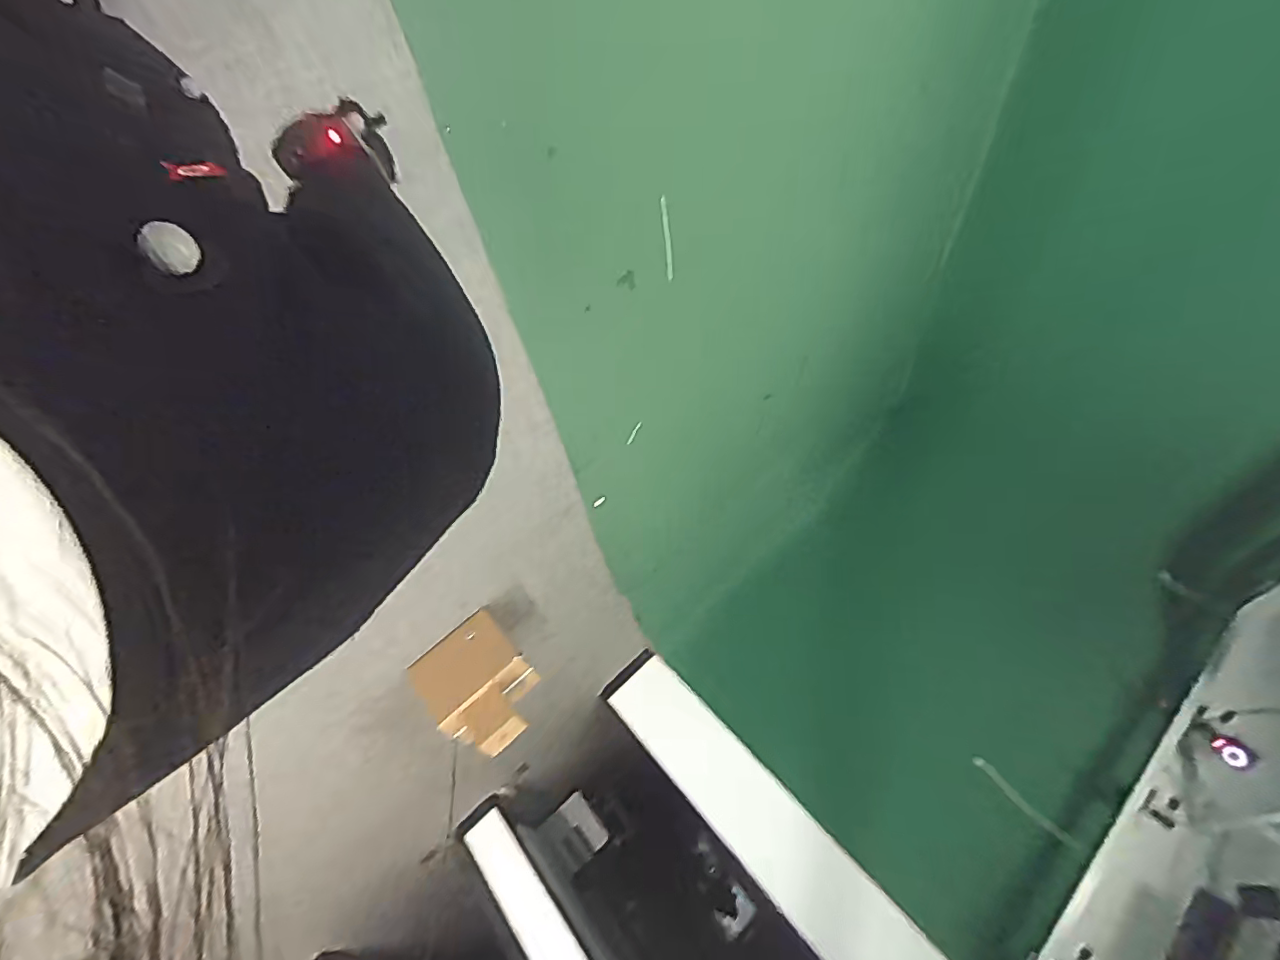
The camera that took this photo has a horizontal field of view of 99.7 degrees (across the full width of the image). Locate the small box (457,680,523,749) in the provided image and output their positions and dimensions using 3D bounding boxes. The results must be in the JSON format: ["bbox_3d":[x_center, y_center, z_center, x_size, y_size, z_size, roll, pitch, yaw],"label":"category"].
[{"bbox_3d":[-0.612,0.951,2.205,0.179,0.176,0.168,-37,144,-18],"label":"small box"}]
